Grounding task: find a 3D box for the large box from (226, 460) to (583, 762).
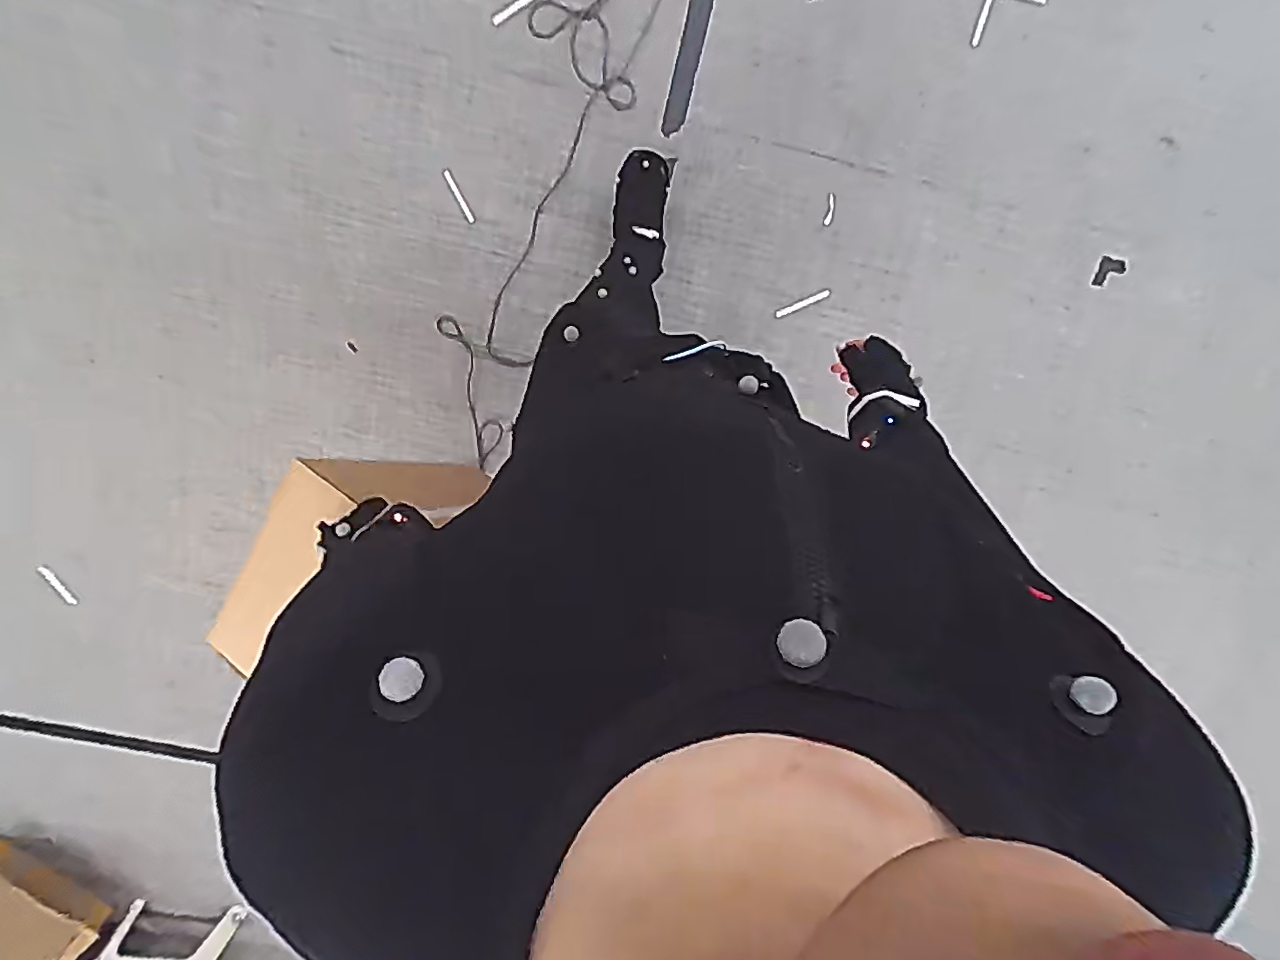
[{"bbox_3d":[-0.362,0.178,0.922,0.320,0.408,0.320,33,99,15],"label":"large box"}]
